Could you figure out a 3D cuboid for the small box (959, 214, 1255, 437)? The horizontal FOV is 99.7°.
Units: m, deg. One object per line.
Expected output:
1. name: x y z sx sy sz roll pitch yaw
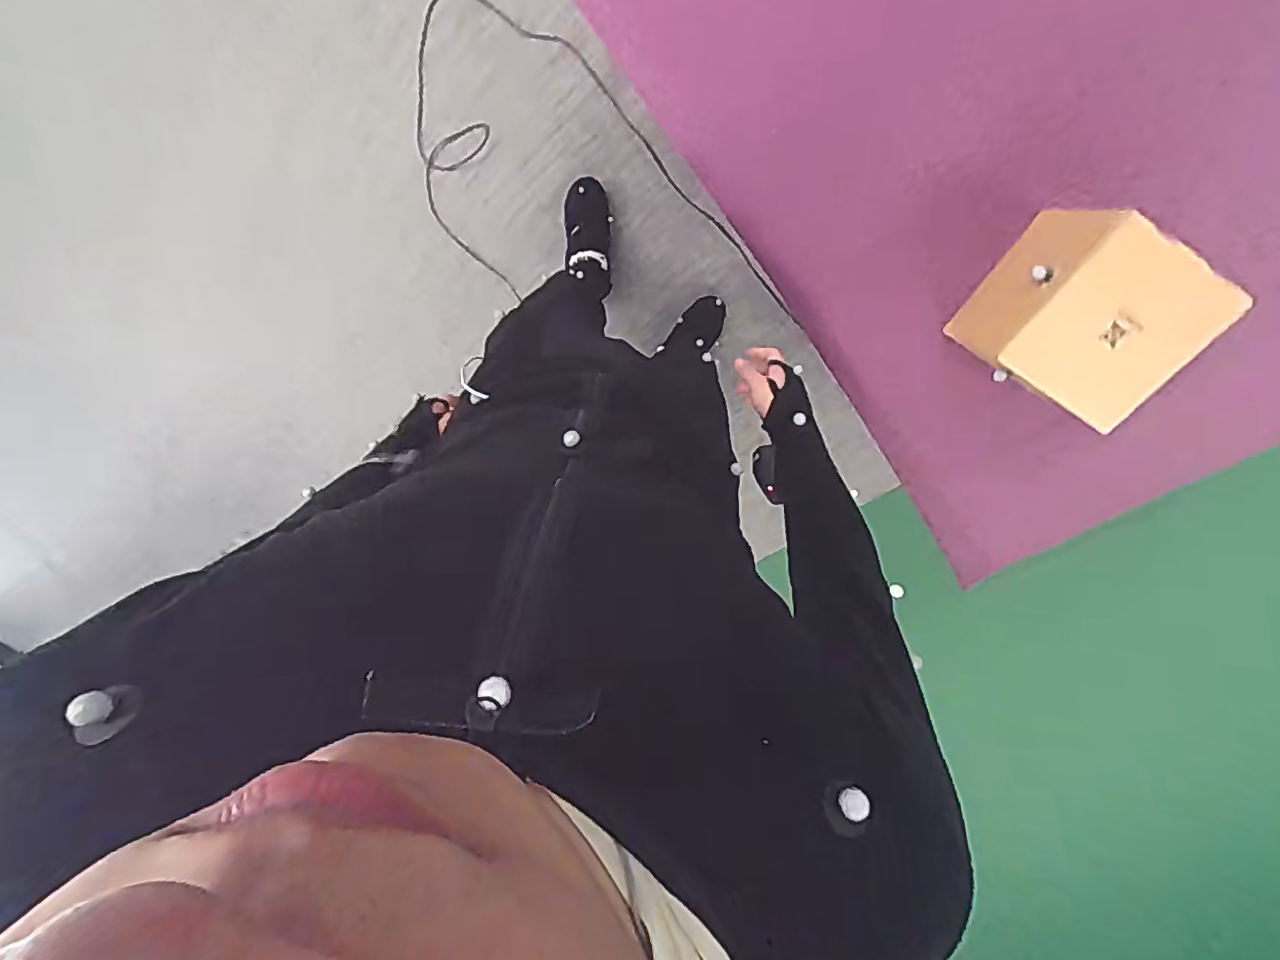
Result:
1. small box: 0.517 -0.187 0.640 0.168 0.176 0.179 31 116 -6
